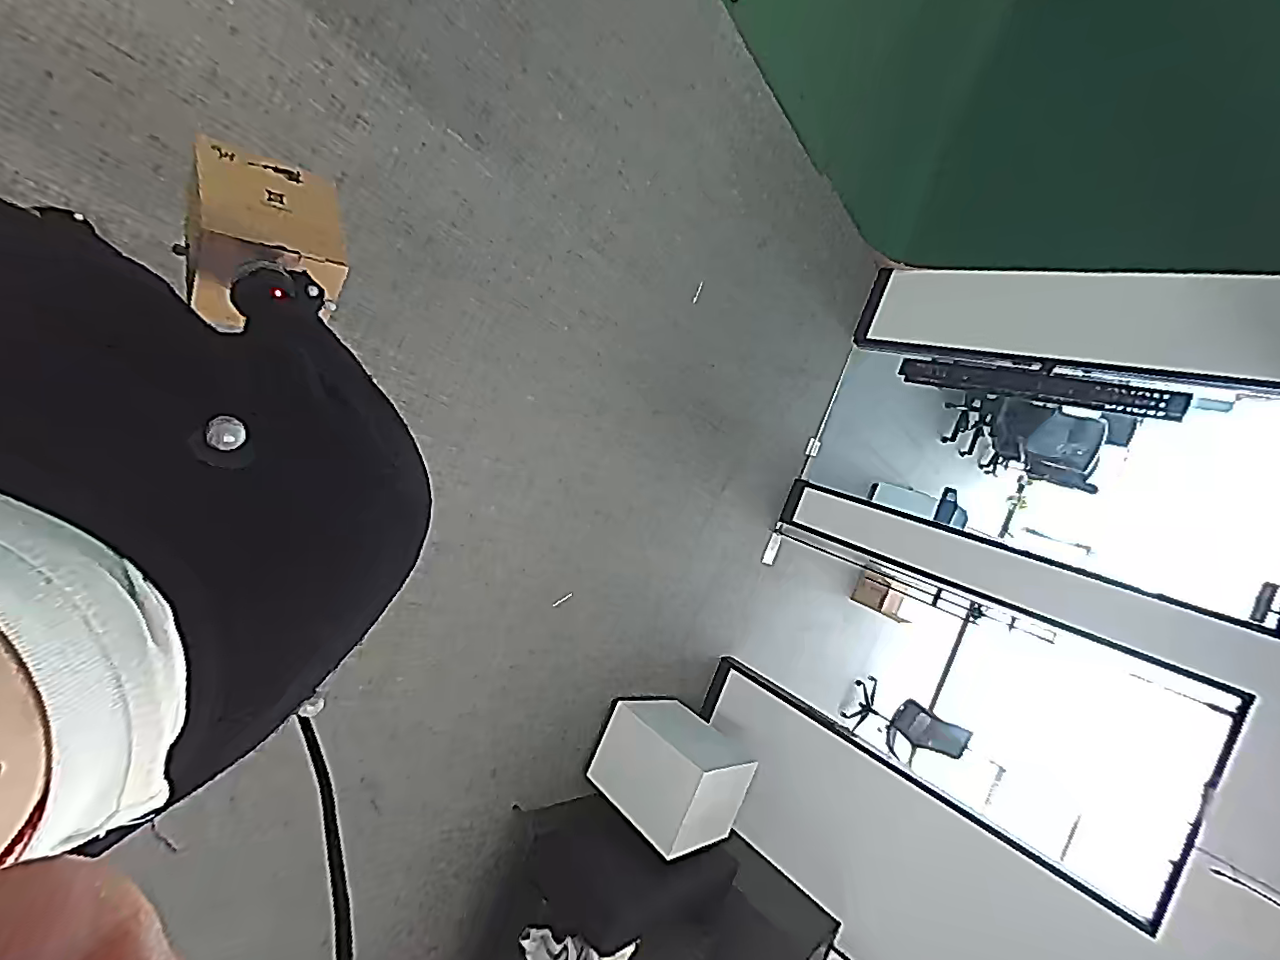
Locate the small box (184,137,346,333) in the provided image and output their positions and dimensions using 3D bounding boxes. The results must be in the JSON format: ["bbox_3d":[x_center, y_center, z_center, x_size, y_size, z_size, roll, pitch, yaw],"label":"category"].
[{"bbox_3d":[-0.549,-0.339,0.787,0.168,0.176,0.179,-4,66,-44],"label":"small box"}]
